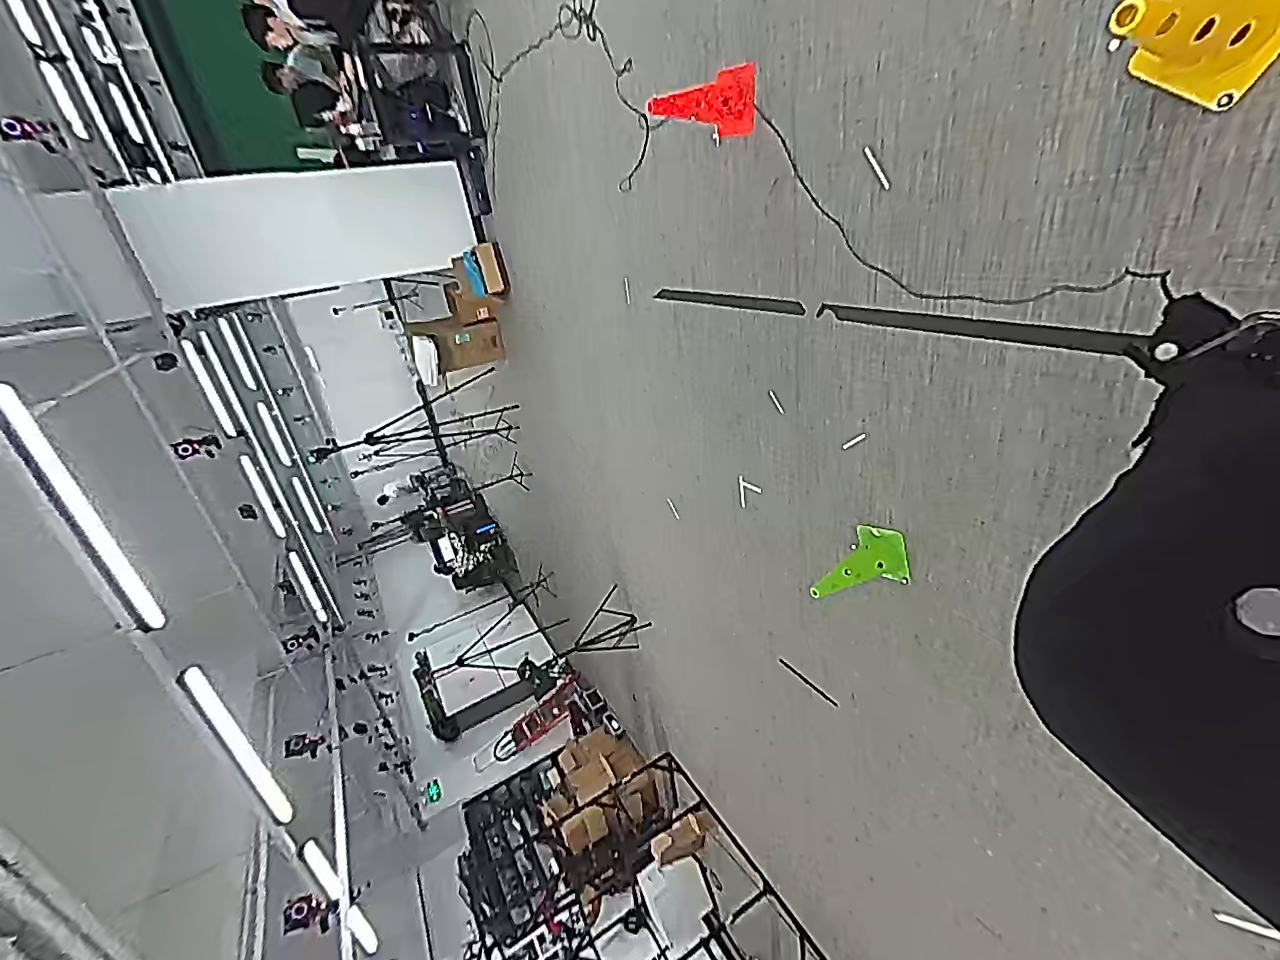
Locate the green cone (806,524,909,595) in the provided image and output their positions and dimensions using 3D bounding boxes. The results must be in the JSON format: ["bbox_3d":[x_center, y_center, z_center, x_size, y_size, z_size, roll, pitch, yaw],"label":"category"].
[{"bbox_3d":[0.743,0.318,1.922,0.202,0.368,0.200,10,118,64],"label":"green cone"}]

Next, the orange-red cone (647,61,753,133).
[{"bbox_3d":[0.182,-1.271,1.815,0.199,0.360,0.198,39,143,47],"label":"orange-red cone"}]
